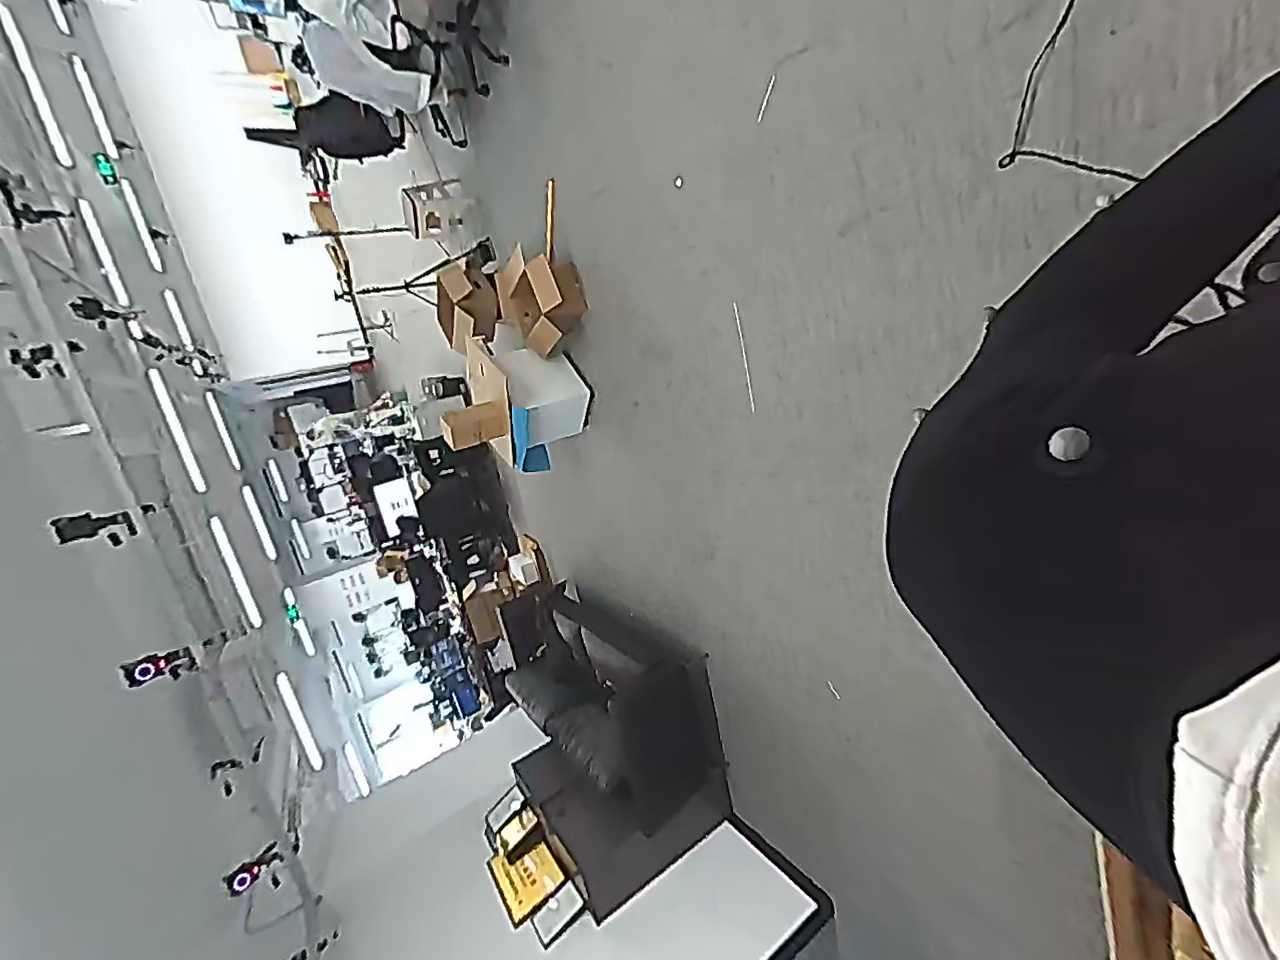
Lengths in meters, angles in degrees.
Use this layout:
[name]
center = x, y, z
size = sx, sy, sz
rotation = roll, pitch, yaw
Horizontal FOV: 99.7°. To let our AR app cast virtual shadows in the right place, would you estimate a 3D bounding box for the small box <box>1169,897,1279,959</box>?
[small box]
center = 1.141, 0.948, 1.015
size = 0.179, 0.176, 0.168
rotation = 4, 112, 59
